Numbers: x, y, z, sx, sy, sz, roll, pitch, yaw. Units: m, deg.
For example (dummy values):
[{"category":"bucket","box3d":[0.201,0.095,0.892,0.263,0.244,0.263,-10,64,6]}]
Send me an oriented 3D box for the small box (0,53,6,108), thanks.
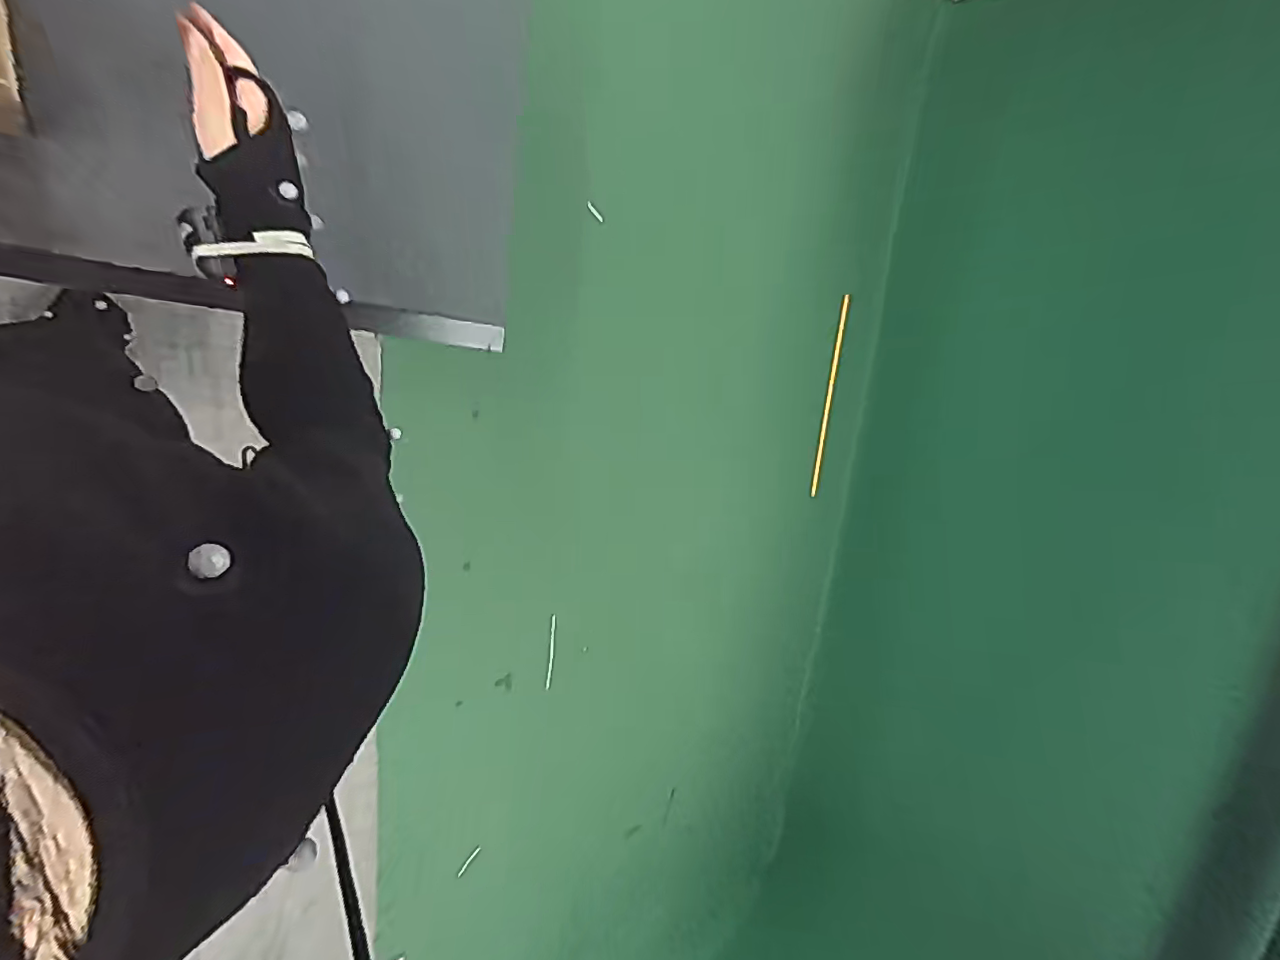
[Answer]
[{"category":"small box","box3d":[-0.541,-0.377,0.342,0.168,0.176,0.179,-8,108,-46]}]
